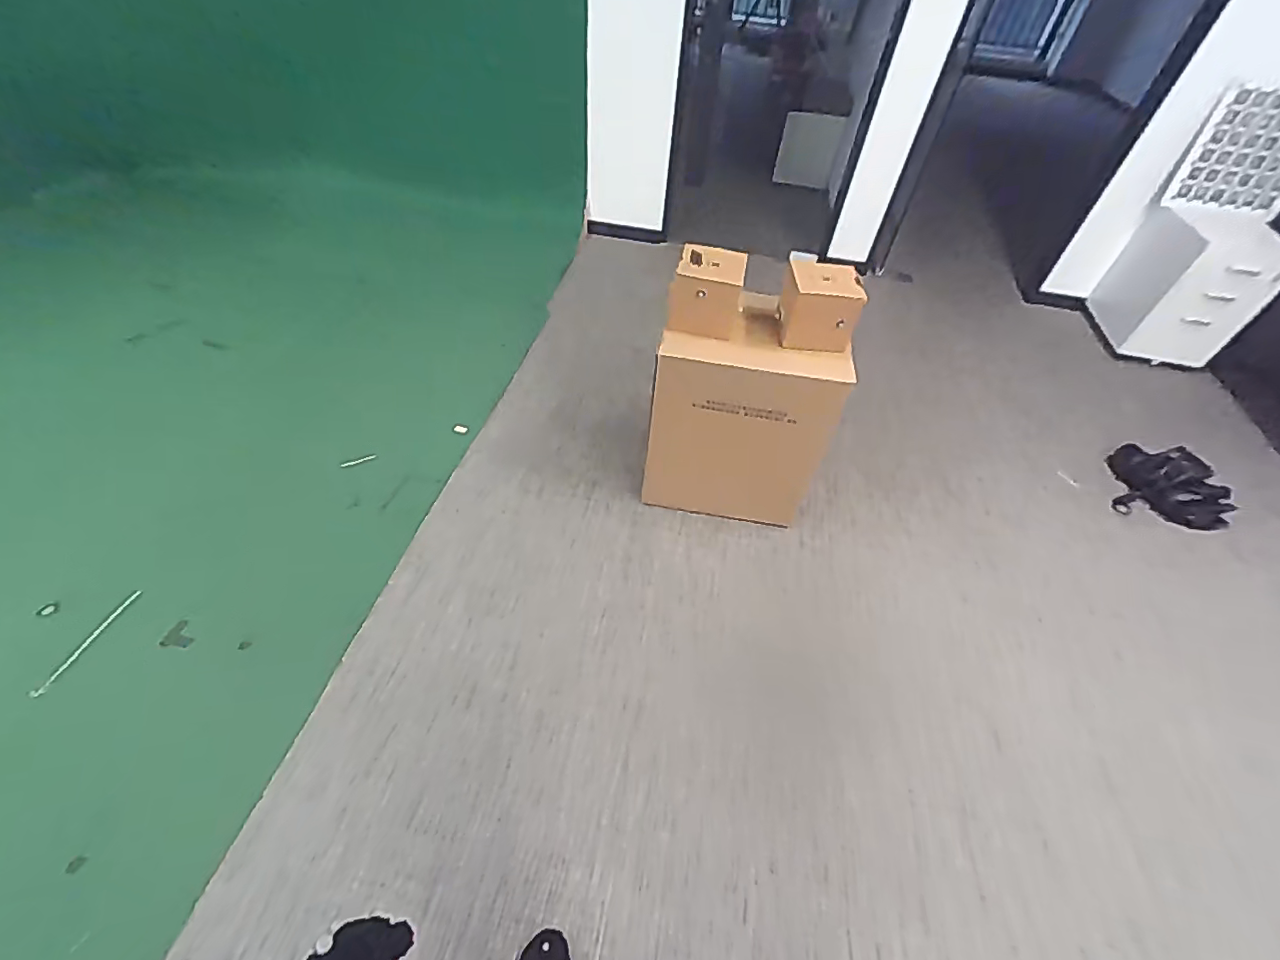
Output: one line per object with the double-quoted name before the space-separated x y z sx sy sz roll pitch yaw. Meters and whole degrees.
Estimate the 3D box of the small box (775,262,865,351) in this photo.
"small box" 0.482 -0.468 1.470 0.179 0.176 0.168 3 49 -1

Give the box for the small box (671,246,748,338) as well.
"small box" 0.186 -0.513 1.482 0.179 0.176 0.168 12 51 5
